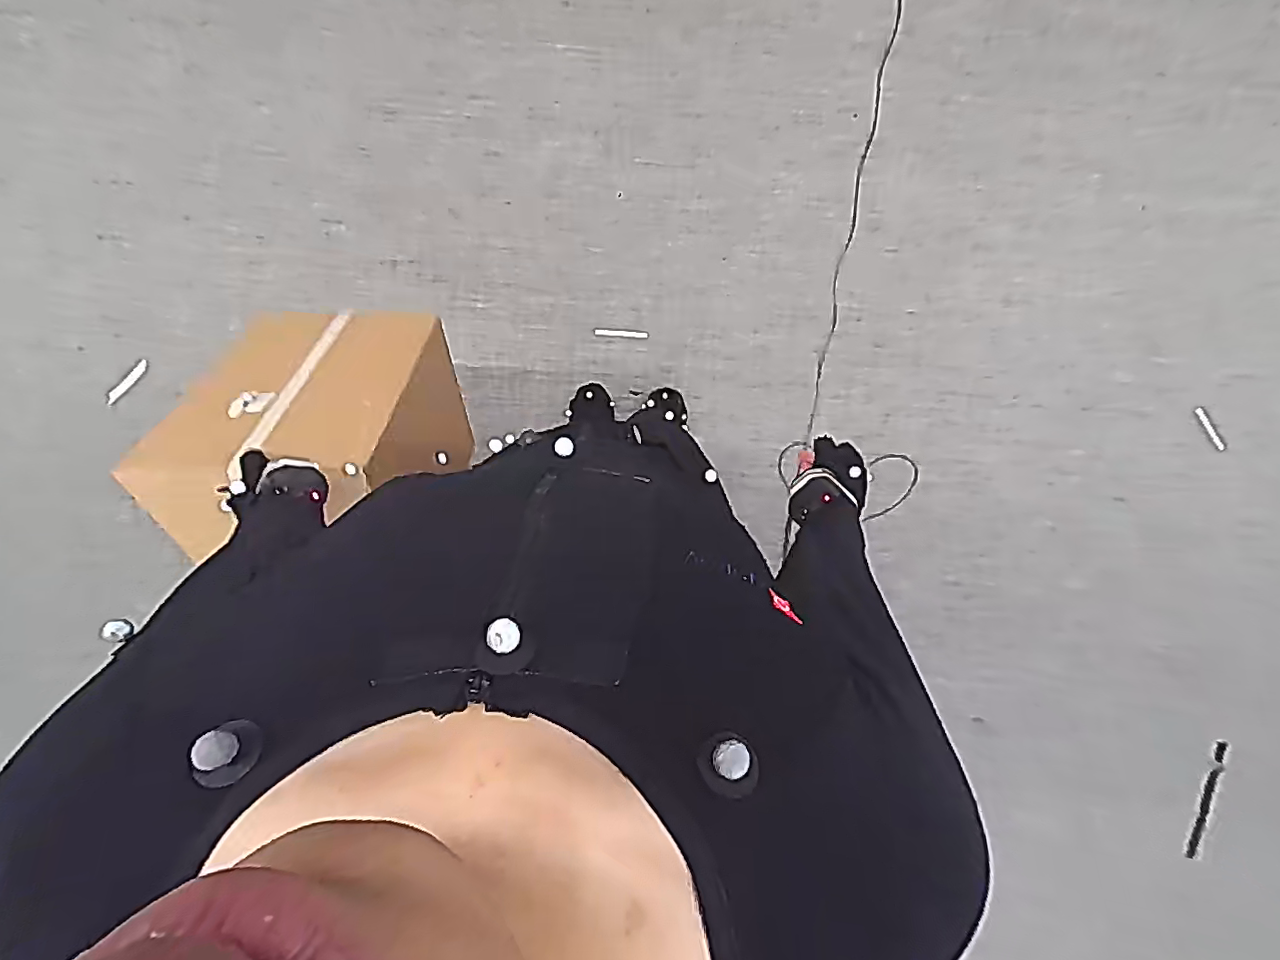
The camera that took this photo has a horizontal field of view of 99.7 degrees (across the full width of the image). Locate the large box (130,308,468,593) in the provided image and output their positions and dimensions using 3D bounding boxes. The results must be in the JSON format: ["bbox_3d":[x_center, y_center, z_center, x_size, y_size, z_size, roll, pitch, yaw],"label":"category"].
[{"bbox_3d":[-0.515,-0.057,0.939,0.320,0.408,0.320,-1,137,0],"label":"large box"}]
